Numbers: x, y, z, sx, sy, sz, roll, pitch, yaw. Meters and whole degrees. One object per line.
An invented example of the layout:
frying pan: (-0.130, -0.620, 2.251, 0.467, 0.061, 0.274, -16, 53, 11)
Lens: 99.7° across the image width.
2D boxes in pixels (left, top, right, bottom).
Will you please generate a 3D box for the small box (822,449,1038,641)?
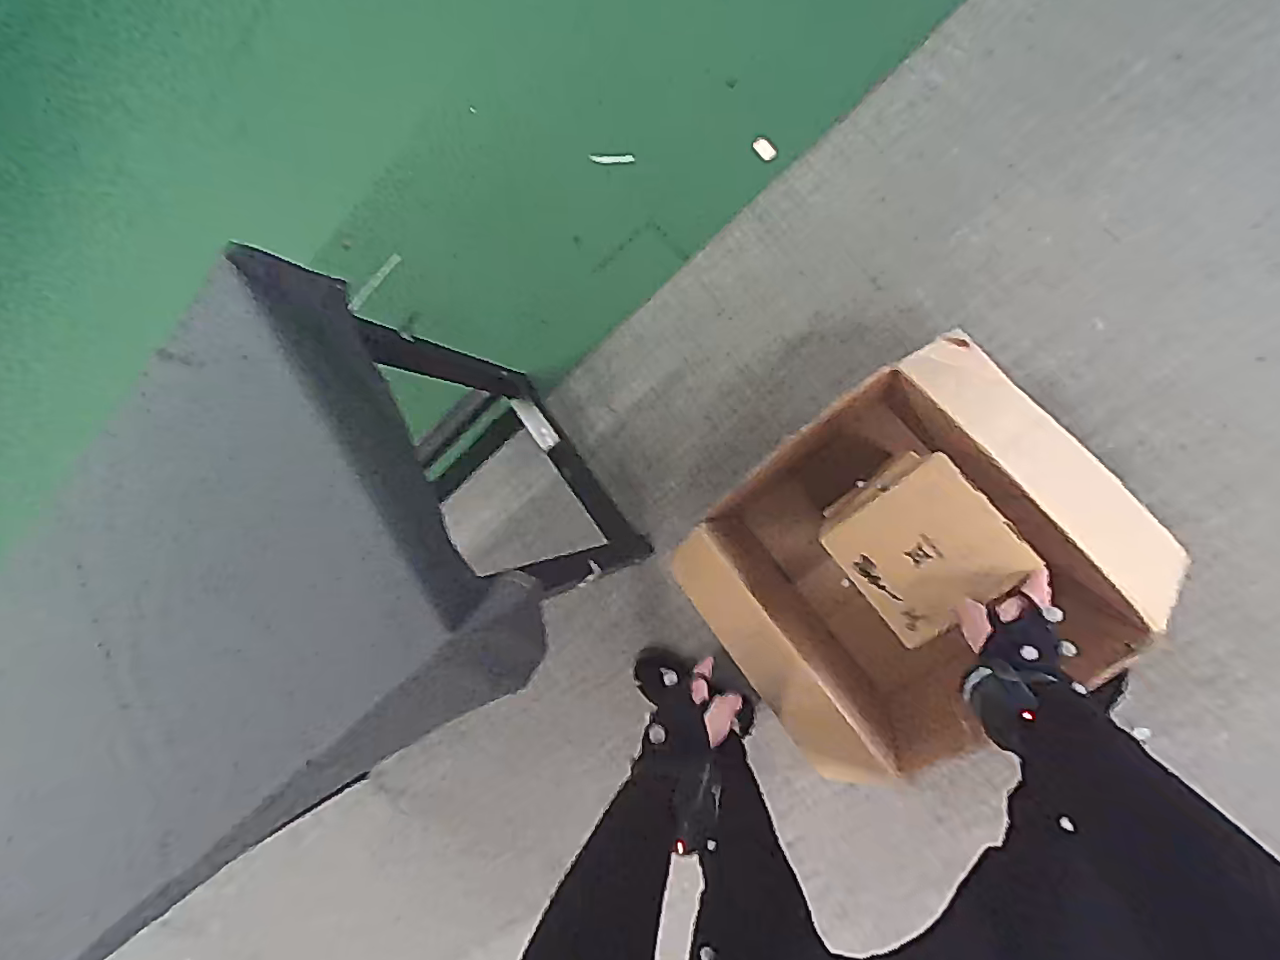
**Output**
small box: (0.358, 0.077, 0.712, 0.179, 0.176, 0.168, -39, 78, 14)

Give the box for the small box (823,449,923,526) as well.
small box: (0.408, 0.068, 0.850, 0.179, 0.176, 0.168, -46, 77, 15)
